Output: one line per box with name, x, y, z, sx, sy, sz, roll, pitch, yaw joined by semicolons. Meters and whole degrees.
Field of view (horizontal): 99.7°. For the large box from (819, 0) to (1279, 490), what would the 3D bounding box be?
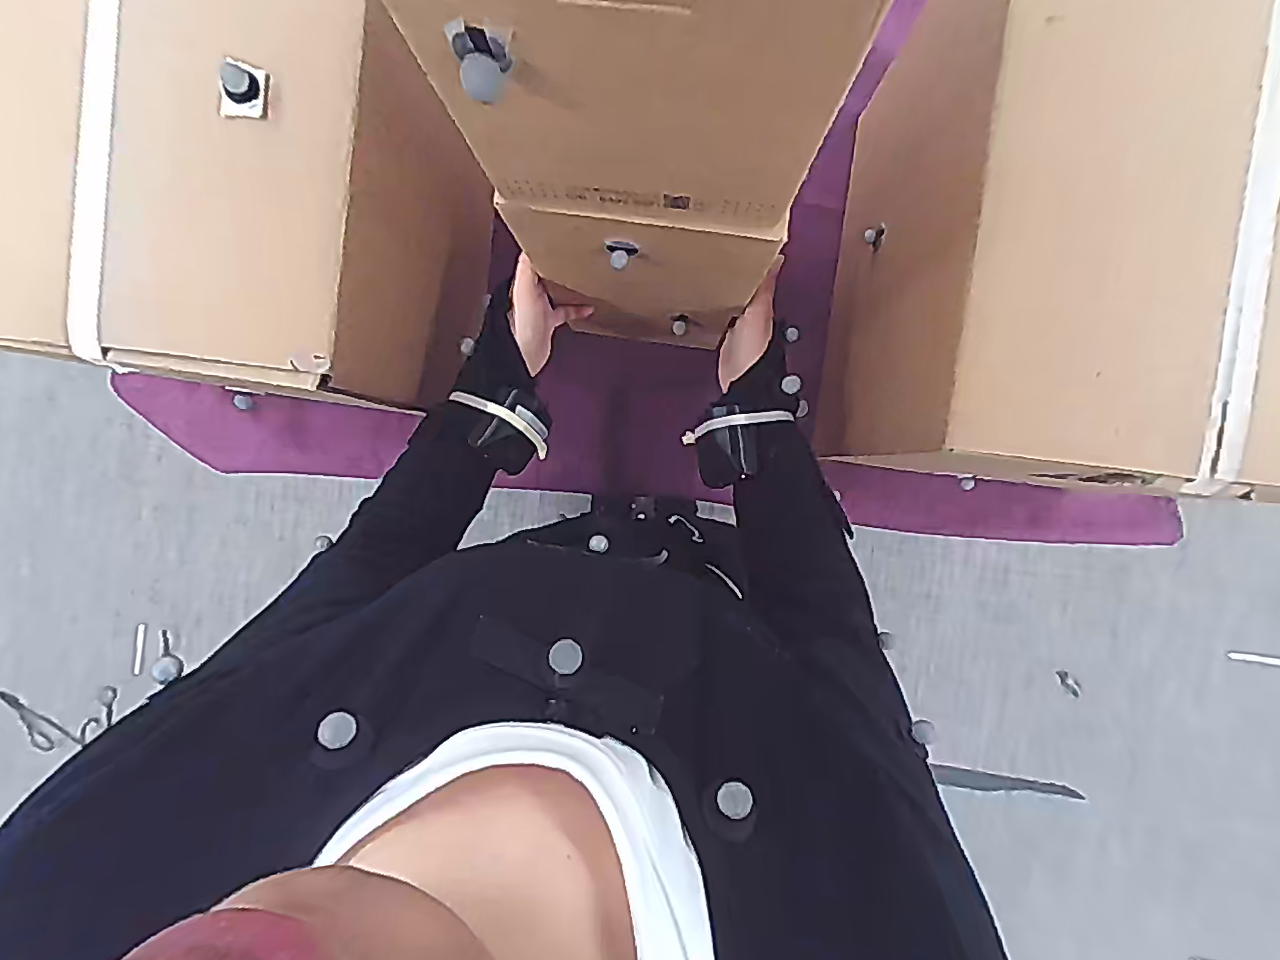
large box;0.368;-0.203;0.475;0.320;0.320;0.408;7;91;1
